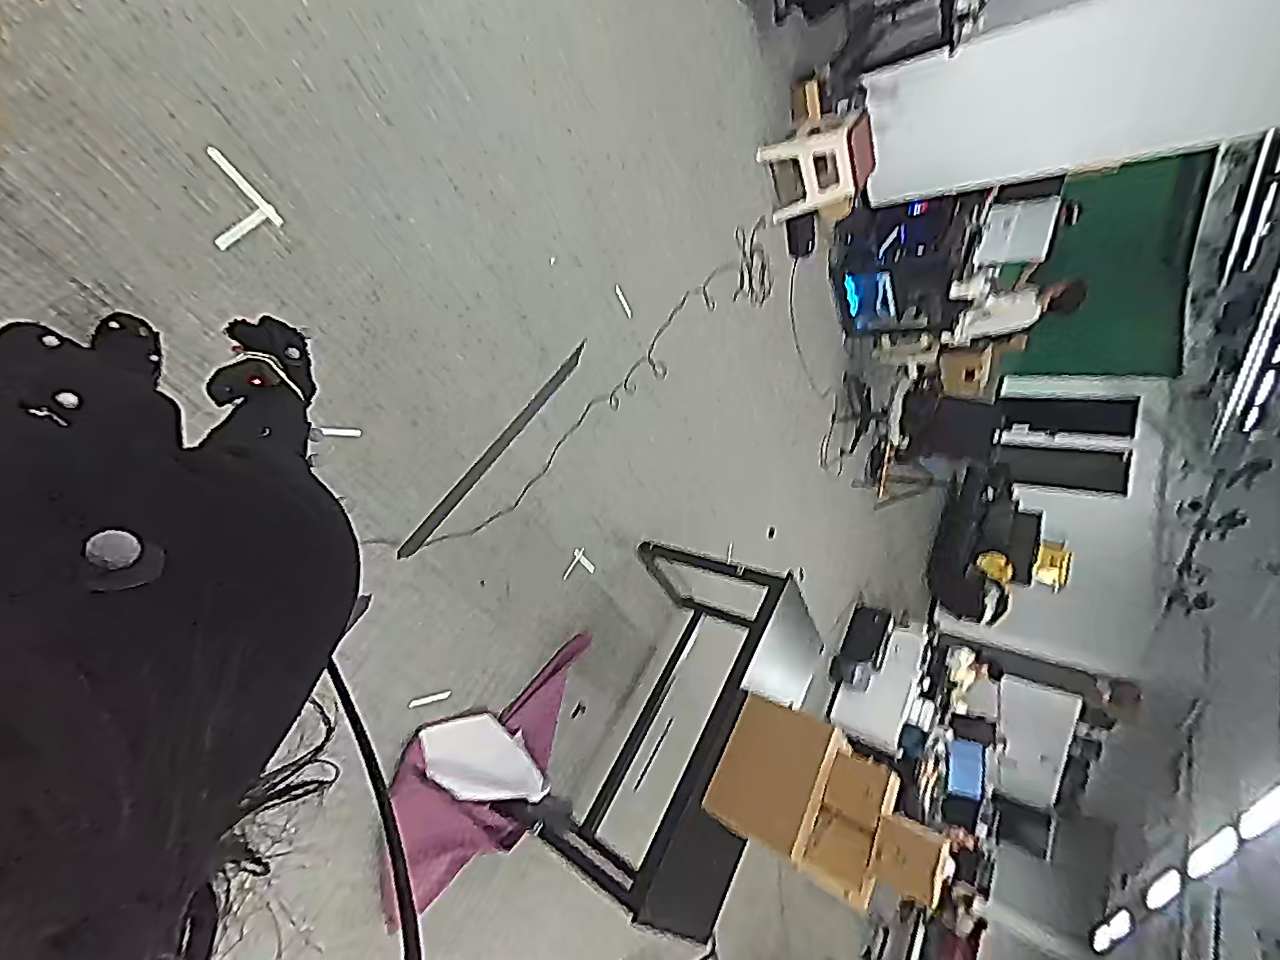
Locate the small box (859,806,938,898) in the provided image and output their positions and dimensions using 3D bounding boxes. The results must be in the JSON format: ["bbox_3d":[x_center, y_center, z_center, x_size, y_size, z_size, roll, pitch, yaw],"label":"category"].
[{"bbox_3d":[0.755,1.081,1.583,0.179,0.176,0.168,42,66,-46],"label":"small box"}]

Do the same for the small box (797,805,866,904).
[{"bbox_3d":[0.590,1.133,1.649,0.168,0.176,0.179,-49,133,-34],"label":"small box"}]

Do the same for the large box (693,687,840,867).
[{"bbox_3d":[0.434,0.982,1.816,0.408,0.320,0.320,-58,136,-25],"label":"large box"}]
